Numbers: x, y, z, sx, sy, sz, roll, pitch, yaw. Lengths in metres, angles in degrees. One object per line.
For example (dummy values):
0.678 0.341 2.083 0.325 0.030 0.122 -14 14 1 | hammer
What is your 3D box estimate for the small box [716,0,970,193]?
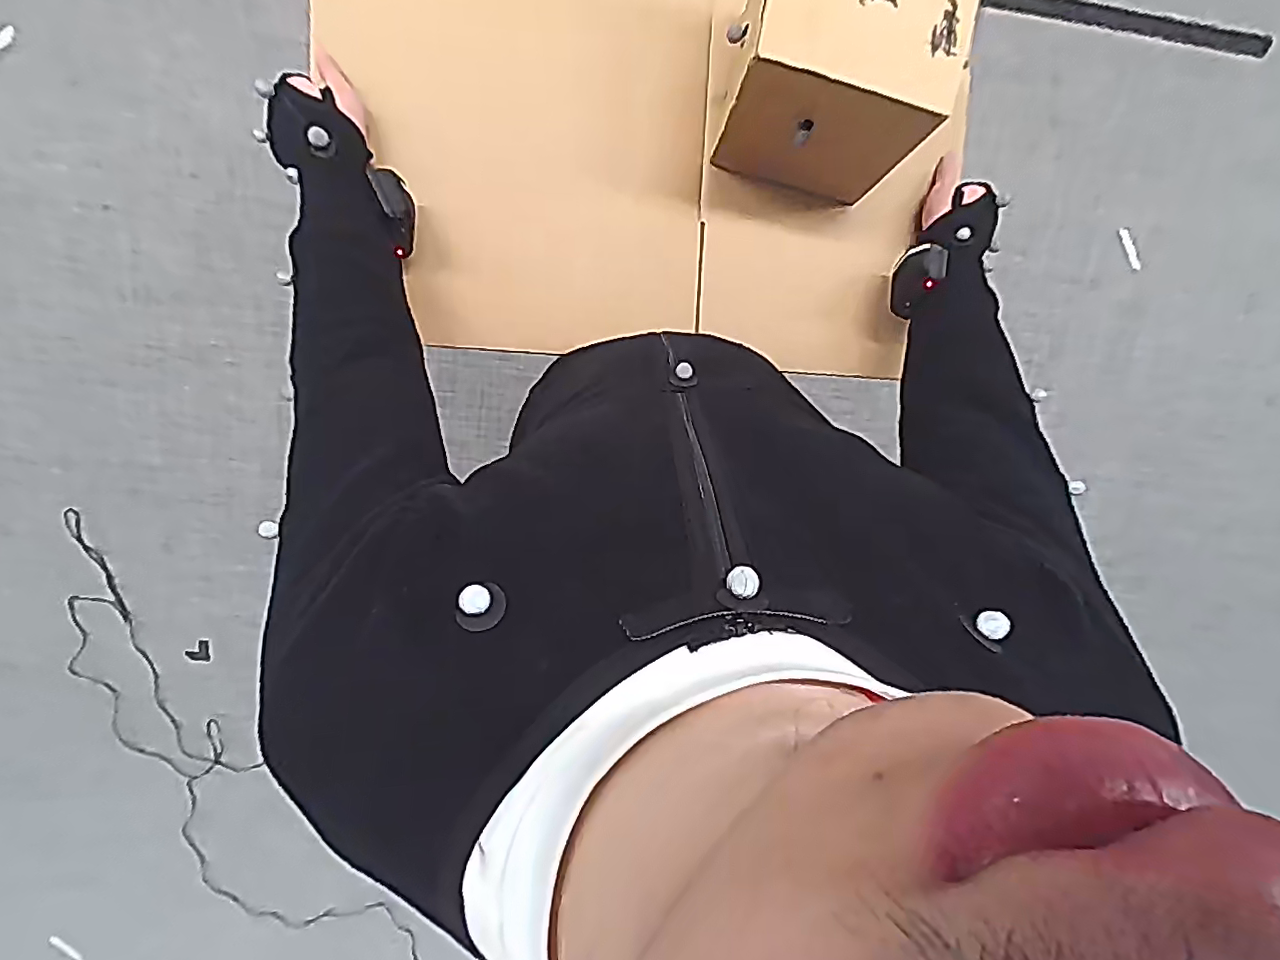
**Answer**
0.185 -0.411 0.526 0.179 0.176 0.168 13 93 -5 | small box
